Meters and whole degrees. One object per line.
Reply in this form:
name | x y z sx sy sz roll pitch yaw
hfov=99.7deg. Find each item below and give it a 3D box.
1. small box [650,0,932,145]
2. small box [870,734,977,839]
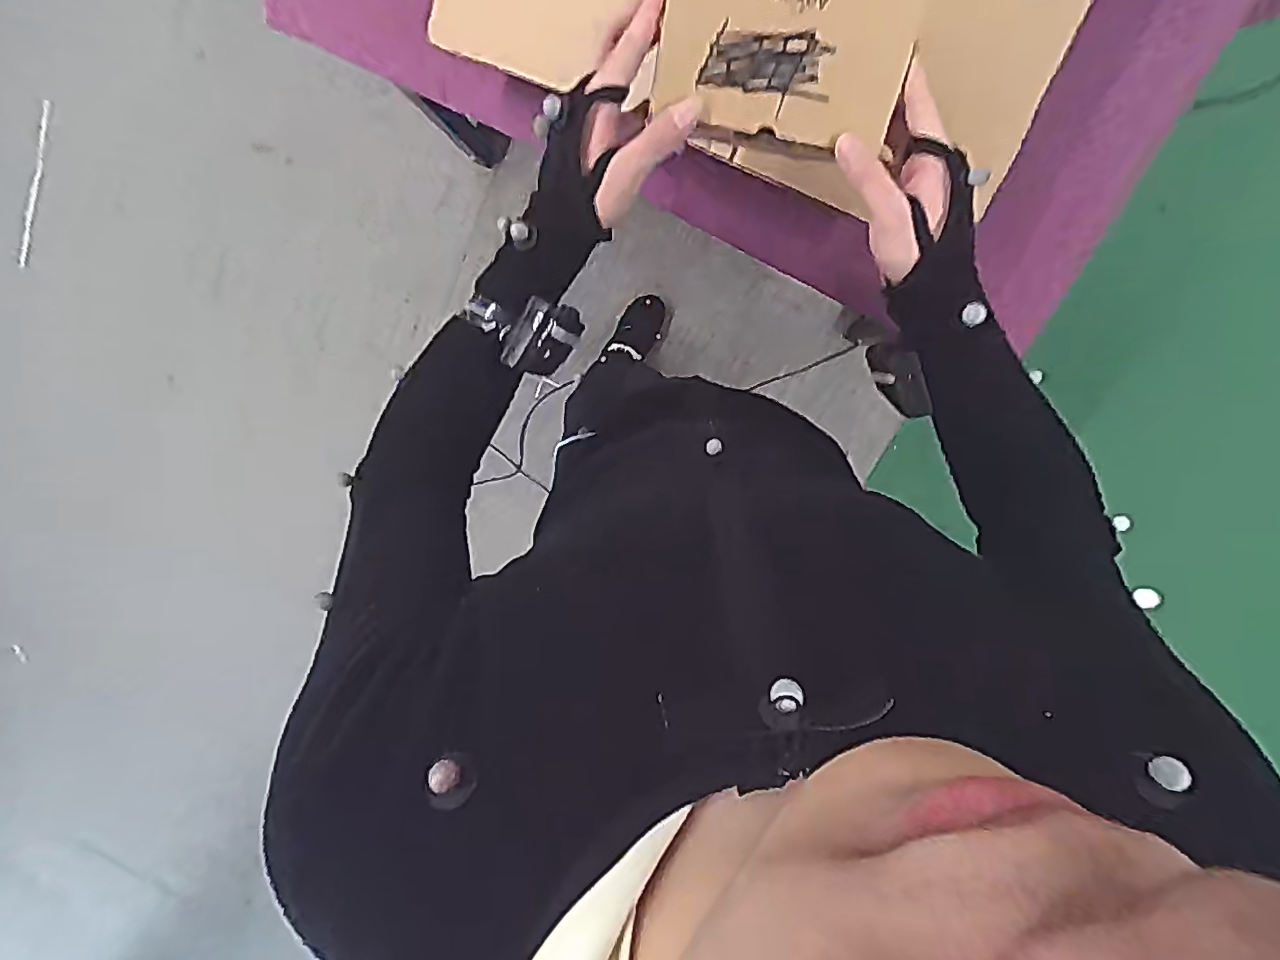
small box | 0.104 -0.358 0.392 0.168 0.176 0.179 9 120 -5
small box | 0.806 0.872 1.555 0.179 0.176 0.168 32 103 -5
